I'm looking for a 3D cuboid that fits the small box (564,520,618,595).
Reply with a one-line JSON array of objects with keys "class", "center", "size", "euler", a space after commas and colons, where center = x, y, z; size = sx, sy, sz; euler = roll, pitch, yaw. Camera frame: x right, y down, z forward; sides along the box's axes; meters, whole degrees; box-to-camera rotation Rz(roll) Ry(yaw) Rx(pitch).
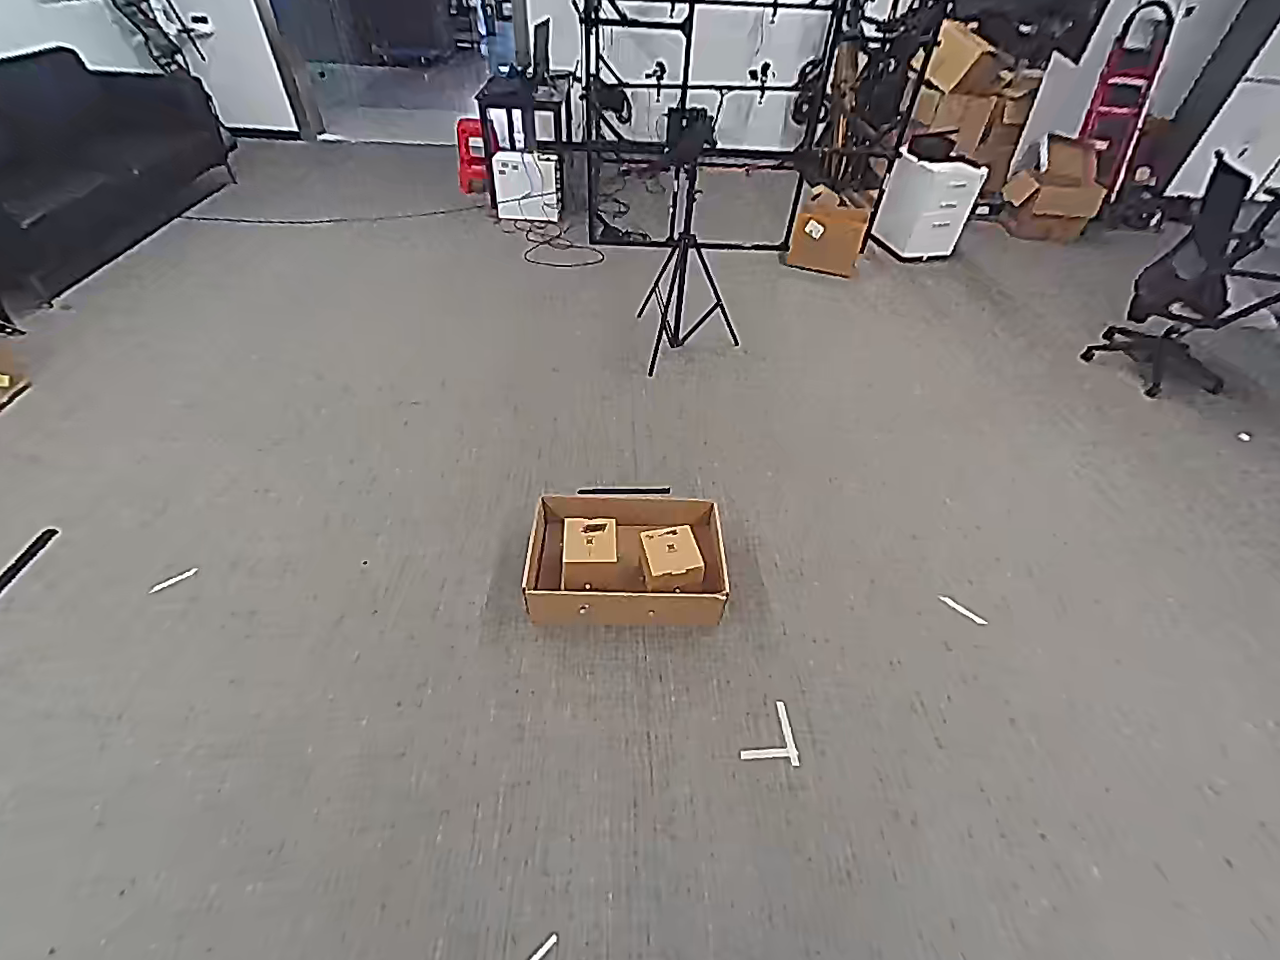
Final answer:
[{"class": "small box", "center": [-0.157, 0.249, 1.739], "size": [0.168, 0.176, 0.179], "euler": [0, 44, -5]}]
